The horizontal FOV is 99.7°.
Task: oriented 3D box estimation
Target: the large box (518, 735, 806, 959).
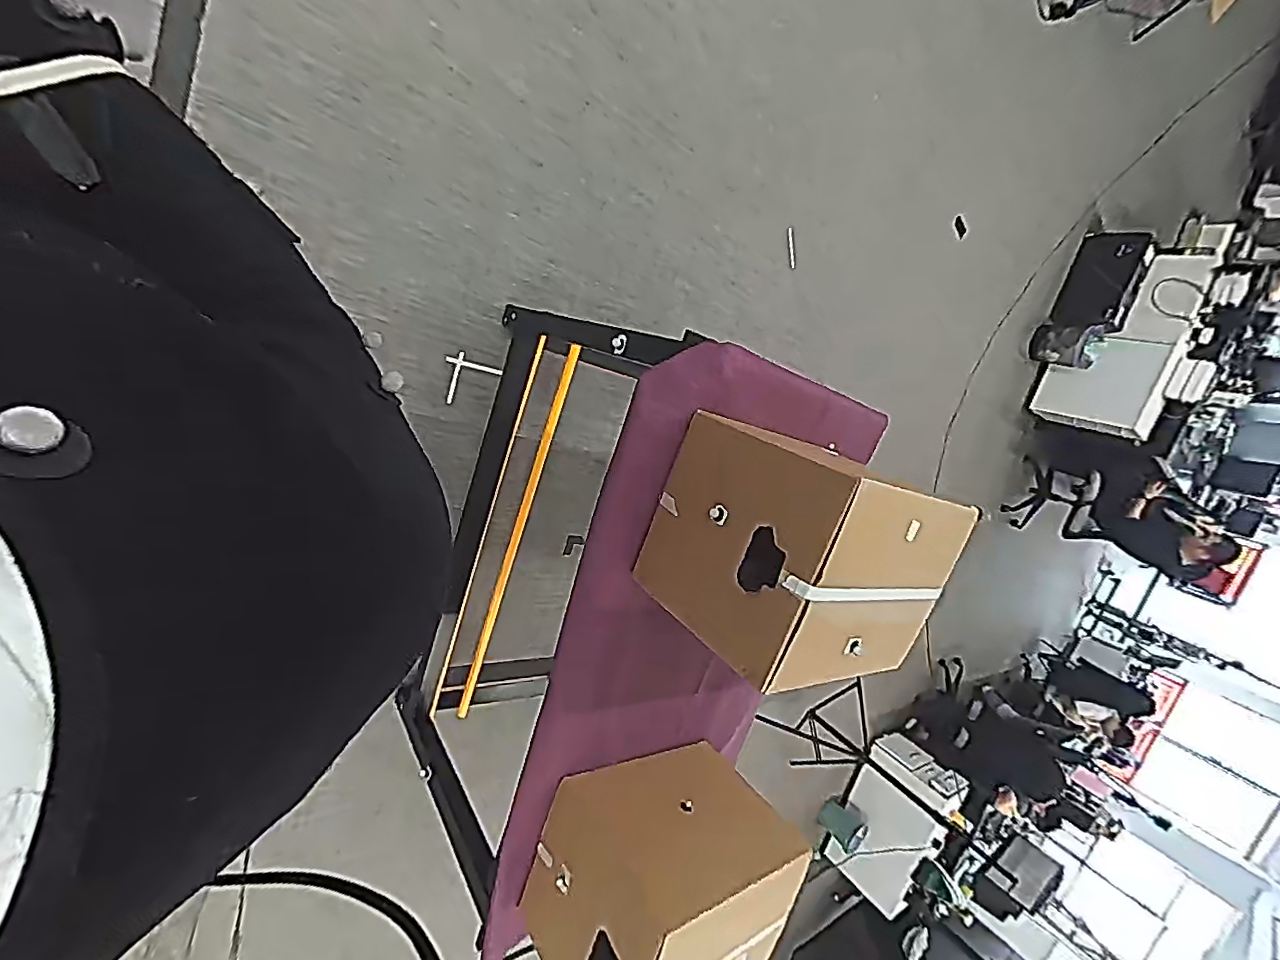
[{"bbox_3d":[0.037,0.753,1.037,0.408,0.320,0.320,9,104,-42],"label":"large box"}]
